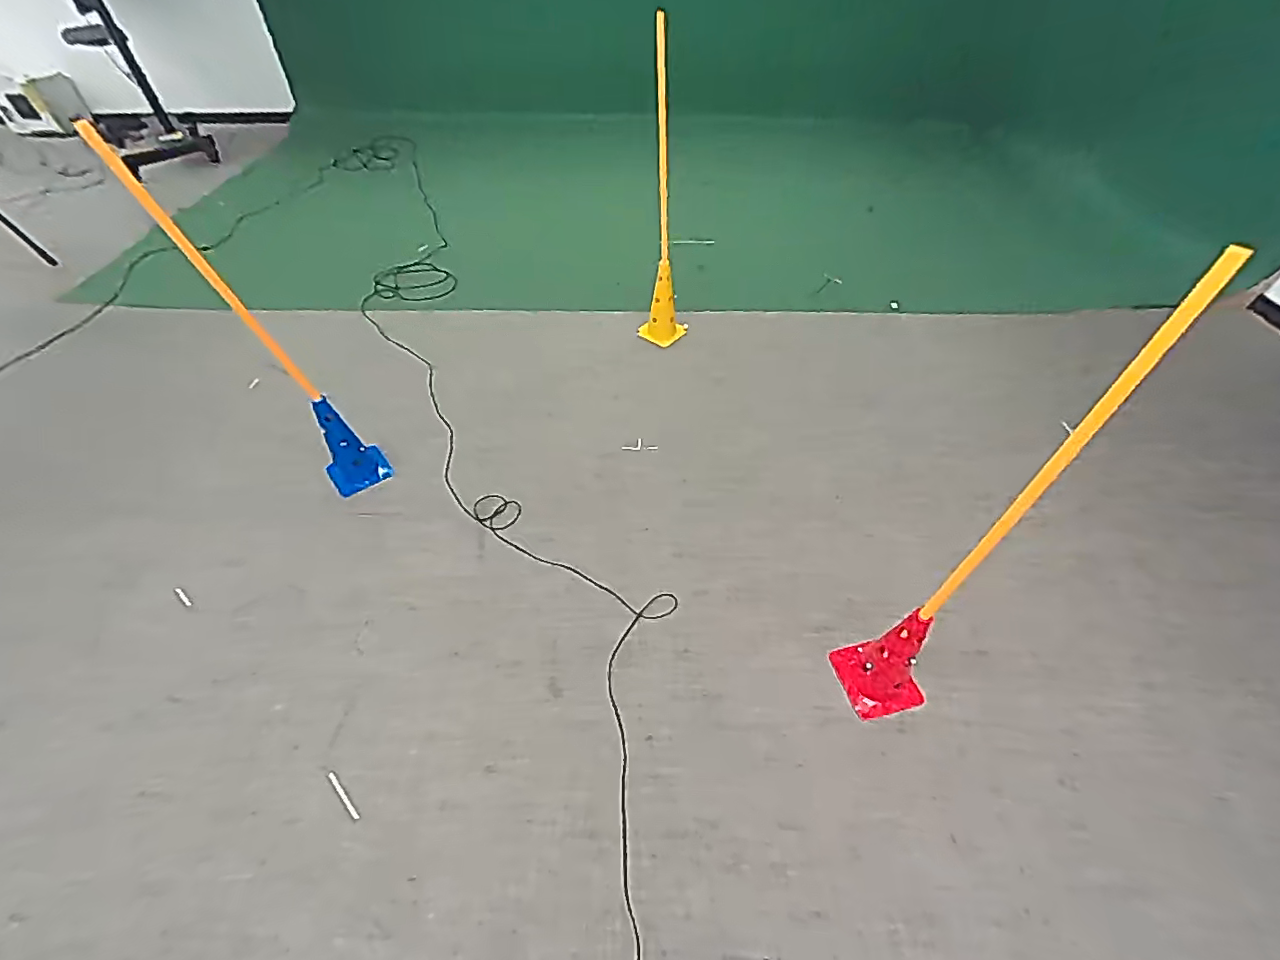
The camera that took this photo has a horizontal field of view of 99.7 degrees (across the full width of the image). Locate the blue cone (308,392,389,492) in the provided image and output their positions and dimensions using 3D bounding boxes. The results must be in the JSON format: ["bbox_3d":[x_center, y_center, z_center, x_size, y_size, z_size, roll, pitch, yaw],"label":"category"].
[{"bbox_3d":[-1.051,-0.150,1.888,0.193,0.380,0.192,-34,57,-25],"label":"blue cone"}]
